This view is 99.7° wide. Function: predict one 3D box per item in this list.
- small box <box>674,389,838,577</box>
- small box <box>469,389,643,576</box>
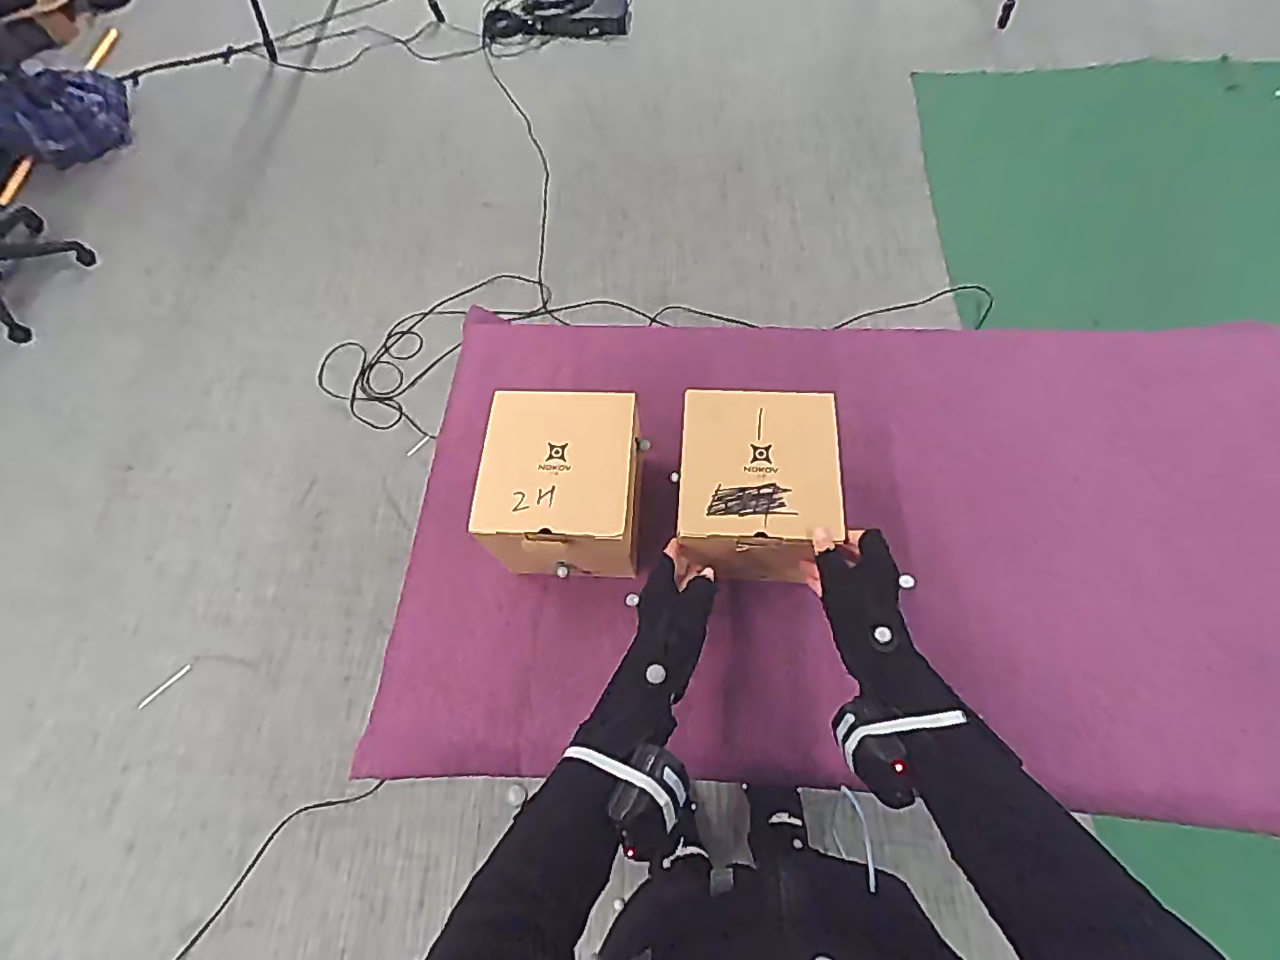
[{"bbox_3d":[0.130,0.011,0.647,0.168,0.176,0.179,3,66,6],"label":"small box"},{"bbox_3d":[-0.087,0.009,0.664,0.168,0.176,0.179,2,67,6],"label":"small box"}]
